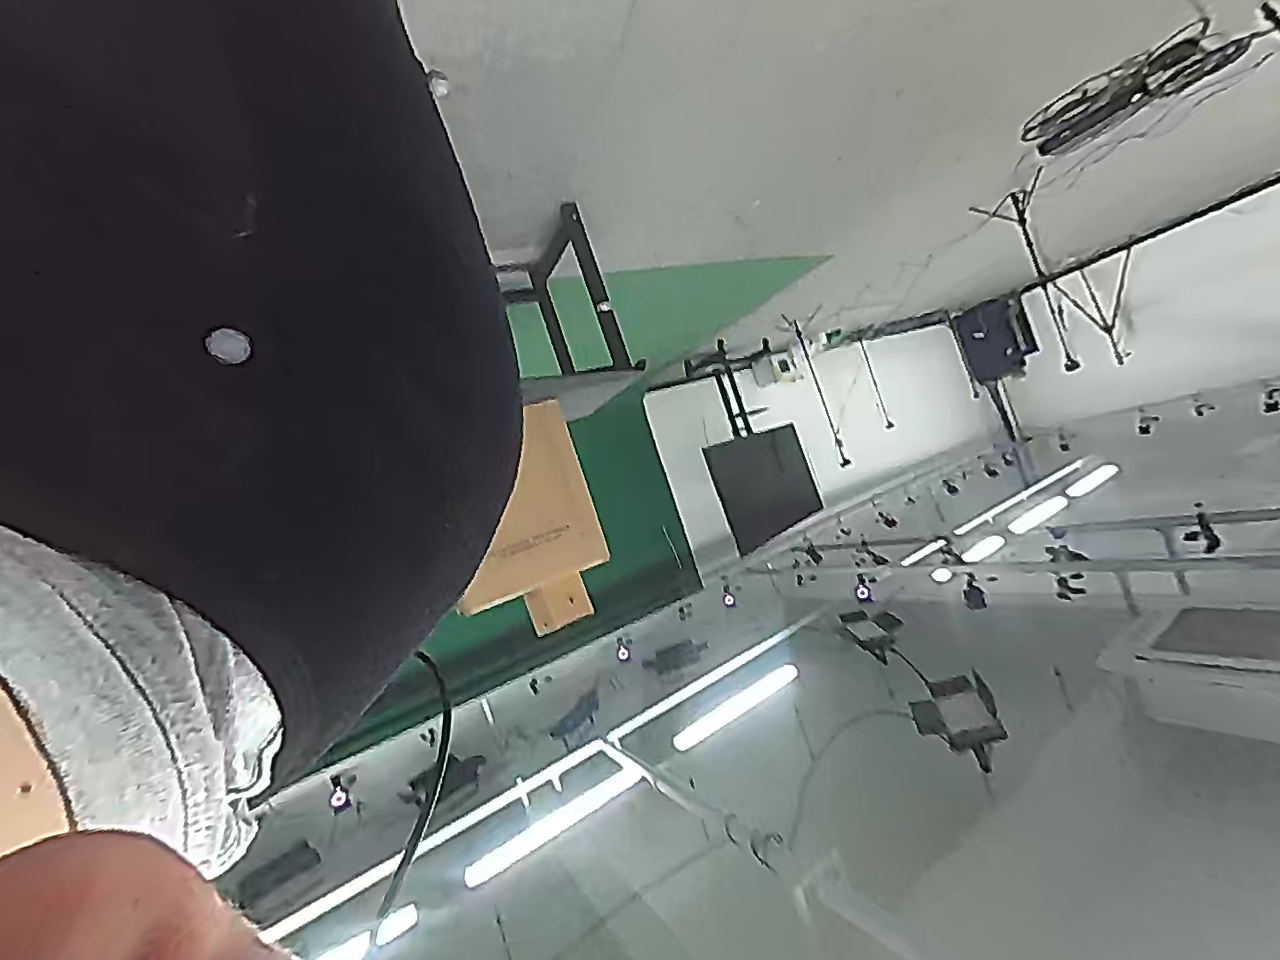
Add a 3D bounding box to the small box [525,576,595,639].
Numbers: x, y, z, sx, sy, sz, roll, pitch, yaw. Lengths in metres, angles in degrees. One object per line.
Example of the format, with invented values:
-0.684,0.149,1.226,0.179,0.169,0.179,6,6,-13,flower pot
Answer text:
-0.307,0.479,2.052,0.179,0.176,0.168,-16,166,-40,small box
